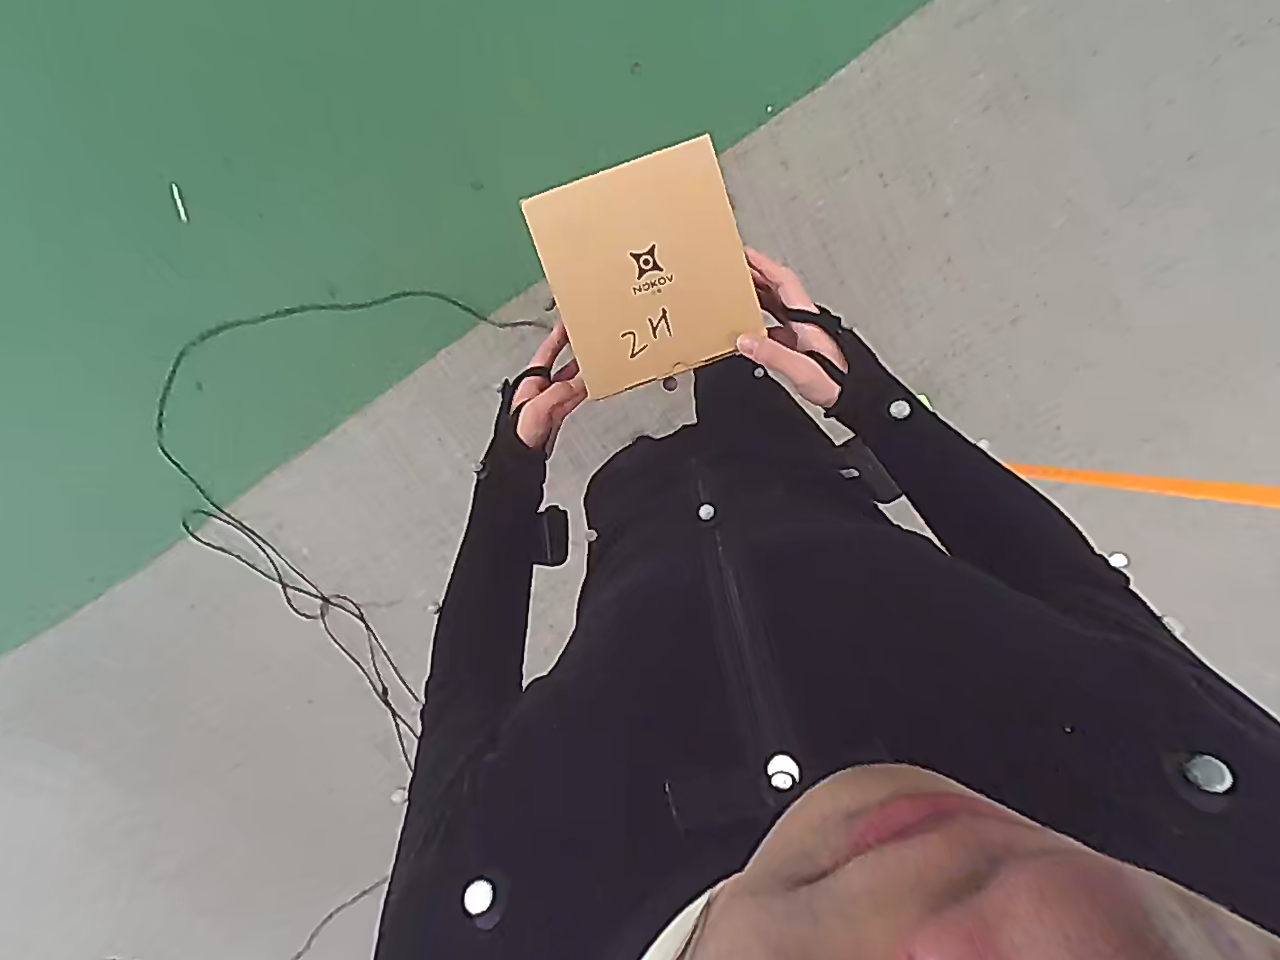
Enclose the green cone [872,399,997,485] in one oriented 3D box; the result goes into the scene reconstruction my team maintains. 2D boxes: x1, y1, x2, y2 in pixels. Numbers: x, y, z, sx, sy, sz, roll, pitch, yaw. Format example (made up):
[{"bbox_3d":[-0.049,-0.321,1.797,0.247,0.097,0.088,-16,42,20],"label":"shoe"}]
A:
[{"bbox_3d":[0.786,-0.066,1.380,0.202,0.368,0.200,-31,101,8],"label":"green cone"}]
